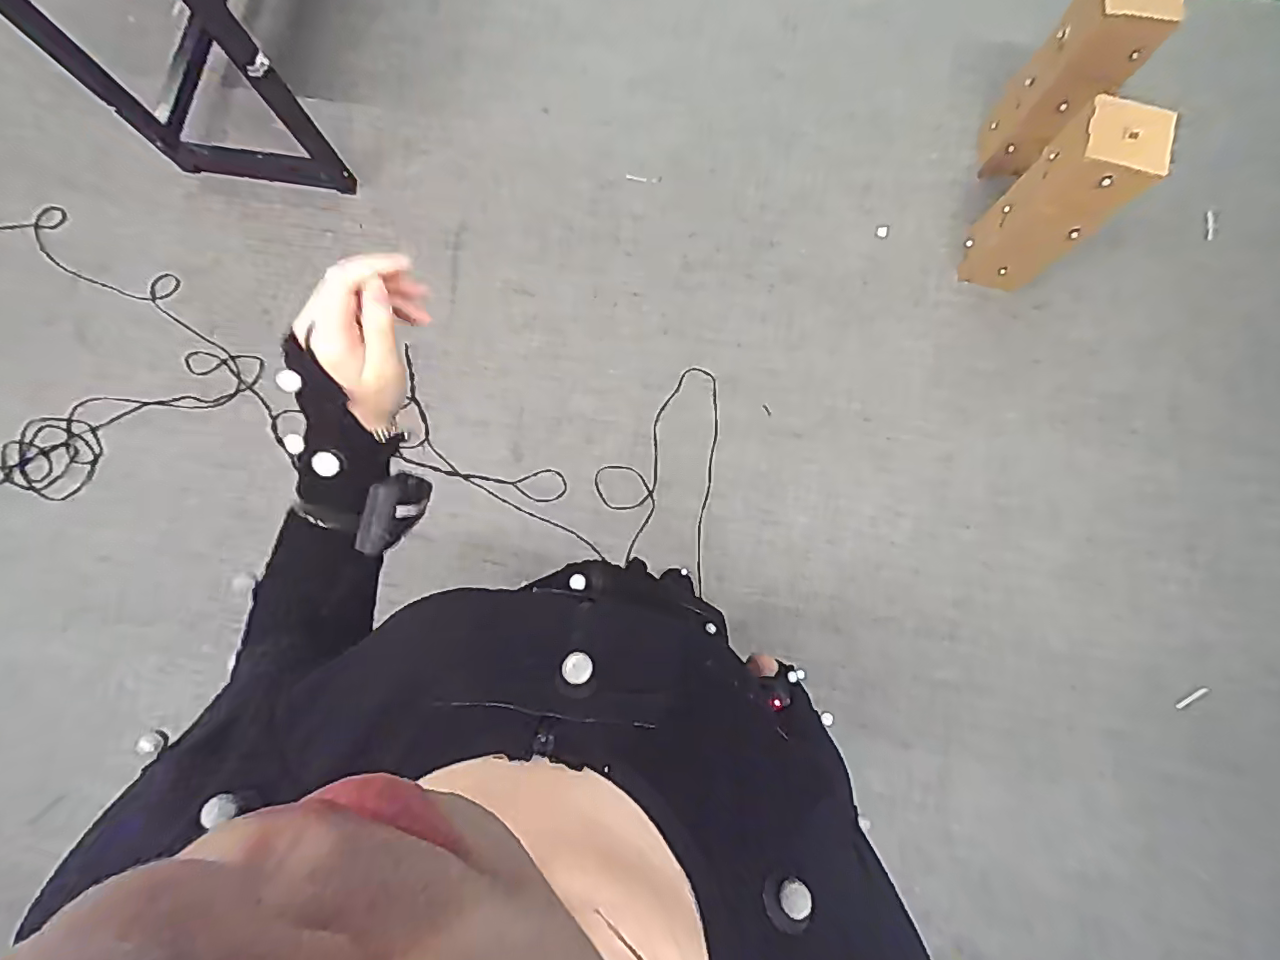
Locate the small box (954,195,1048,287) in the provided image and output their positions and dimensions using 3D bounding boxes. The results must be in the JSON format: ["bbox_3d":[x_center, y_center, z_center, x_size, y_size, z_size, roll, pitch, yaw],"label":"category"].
[{"bbox_3d":[1.062,-0.689,1.580,0.179,0.176,0.168,16,81,4],"label":"small box"}]

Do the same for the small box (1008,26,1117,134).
[{"bbox_3d":[1.143,-1.084,1.476,0.179,0.176,0.168,7,81,2],"label":"small box"}]

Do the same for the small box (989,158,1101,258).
[{"bbox_3d":[1.063,-0.712,1.417,0.179,0.176,0.168,14,81,3],"label":"small box"}]

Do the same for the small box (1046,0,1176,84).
[{"bbox_3d":[1.137,-1.109,1.315,0.179,0.176,0.168,8,79,2],"label":"small box"}]

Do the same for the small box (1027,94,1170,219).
[{"bbox_3d":[1.057,-0.742,1.257,0.179,0.176,0.168,16,82,3],"label":"small box"}]
